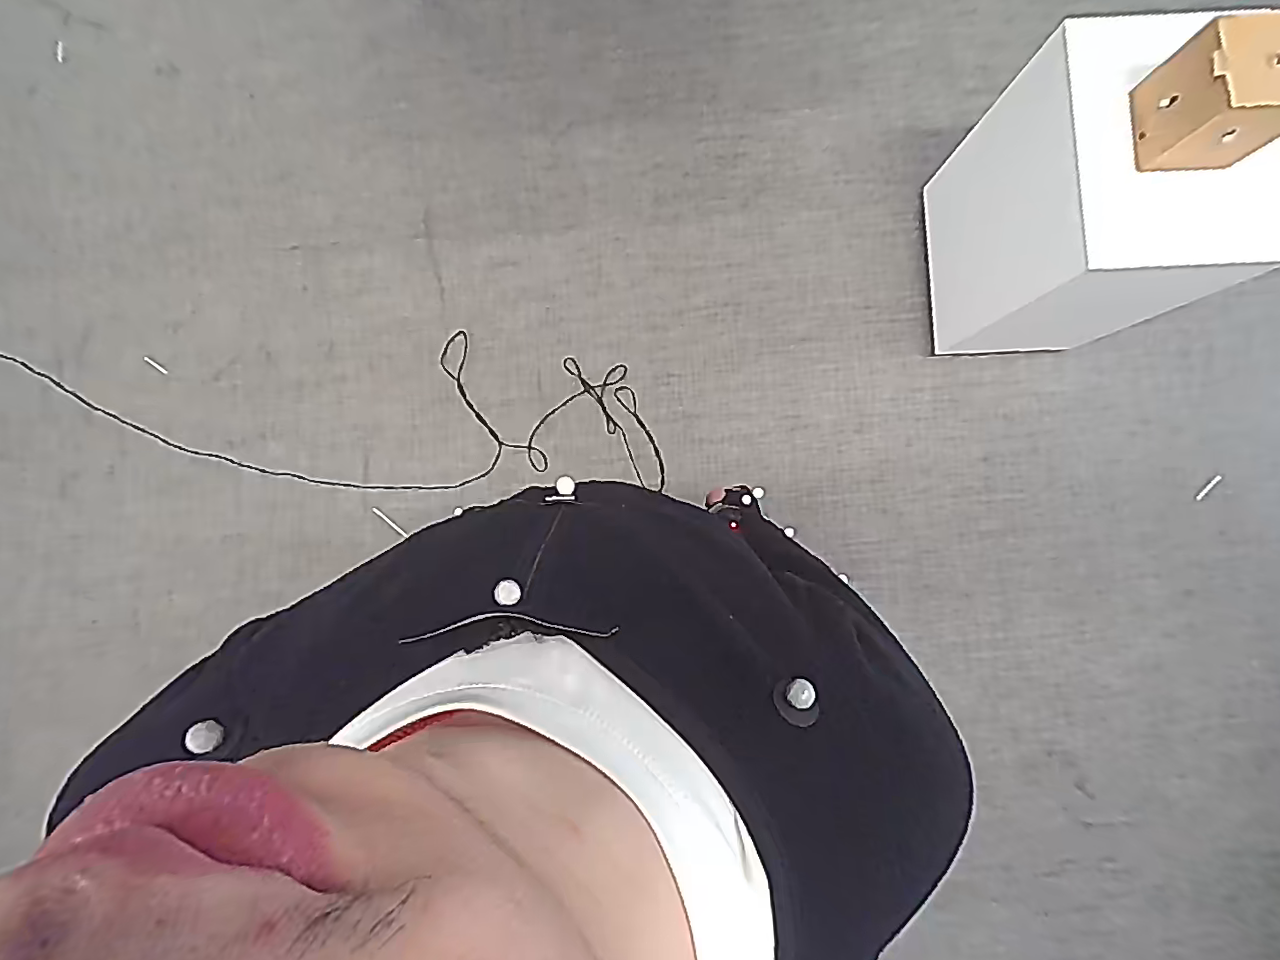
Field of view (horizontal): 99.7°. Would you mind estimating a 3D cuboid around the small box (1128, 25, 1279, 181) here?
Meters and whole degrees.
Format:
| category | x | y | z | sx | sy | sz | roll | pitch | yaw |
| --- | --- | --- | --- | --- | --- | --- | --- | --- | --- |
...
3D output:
| category | x | y | z | sx | sy | sz | roll | pitch | yaw |
| --- | --- | --- | --- | --- | --- | --- | --- | --- | --- |
| small box | 1.031 | -0.666 | 0.973 | 0.179 | 0.176 | 0.168 | -4 | 85 | 0 |
